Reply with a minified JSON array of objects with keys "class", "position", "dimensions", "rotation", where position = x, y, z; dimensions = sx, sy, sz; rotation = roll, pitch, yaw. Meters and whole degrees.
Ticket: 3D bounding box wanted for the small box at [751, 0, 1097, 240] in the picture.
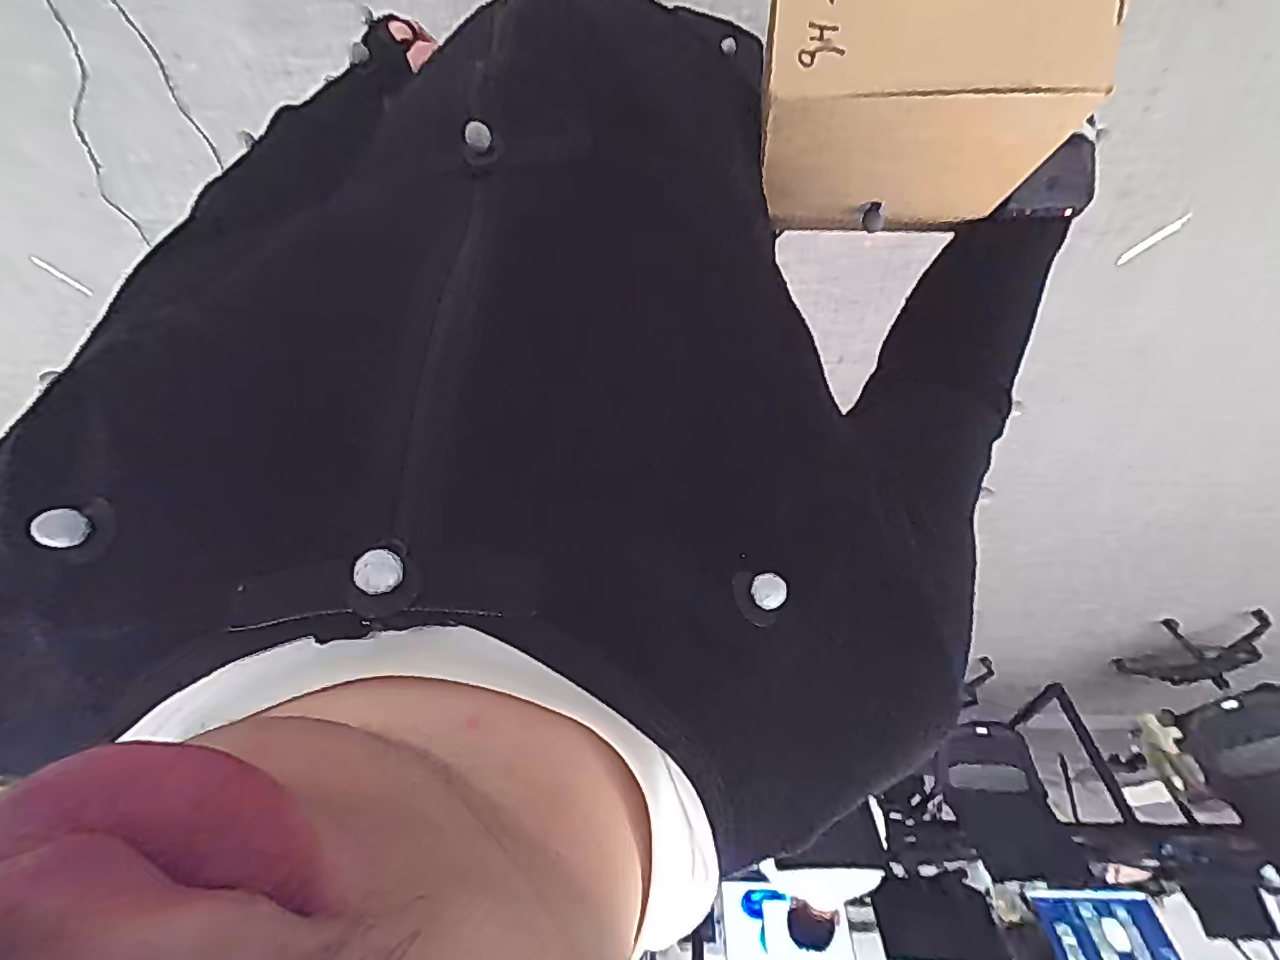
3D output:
[{"class":"small box","position":[0.179,-0.289,0.388],"dimensions":[0.179,0.176,0.168],"rotation":[4,91,8]}]
